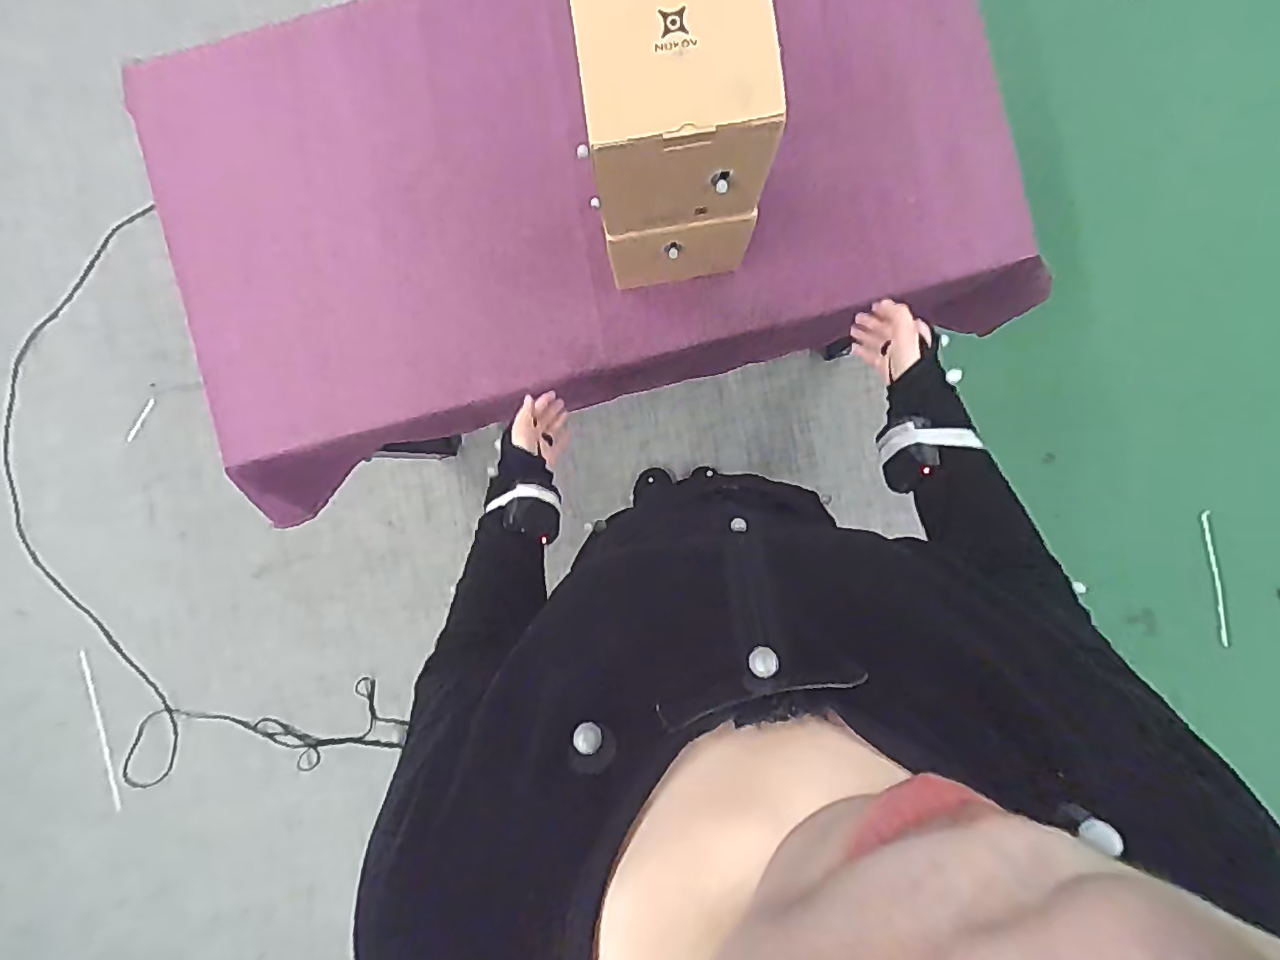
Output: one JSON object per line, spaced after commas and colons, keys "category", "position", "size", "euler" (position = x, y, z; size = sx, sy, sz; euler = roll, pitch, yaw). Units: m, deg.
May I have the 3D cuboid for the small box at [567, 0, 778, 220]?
{"category": "small box", "position": [0.029, -0.374, 0.524], "size": [0.168, 0.176, 0.179], "euler": [-7, 90, 3]}

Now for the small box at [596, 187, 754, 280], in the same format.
{"category": "small box", "position": [0.038, -0.370, 0.687], "size": [0.179, 0.176, 0.168], "euler": [-8, 92, 4]}
